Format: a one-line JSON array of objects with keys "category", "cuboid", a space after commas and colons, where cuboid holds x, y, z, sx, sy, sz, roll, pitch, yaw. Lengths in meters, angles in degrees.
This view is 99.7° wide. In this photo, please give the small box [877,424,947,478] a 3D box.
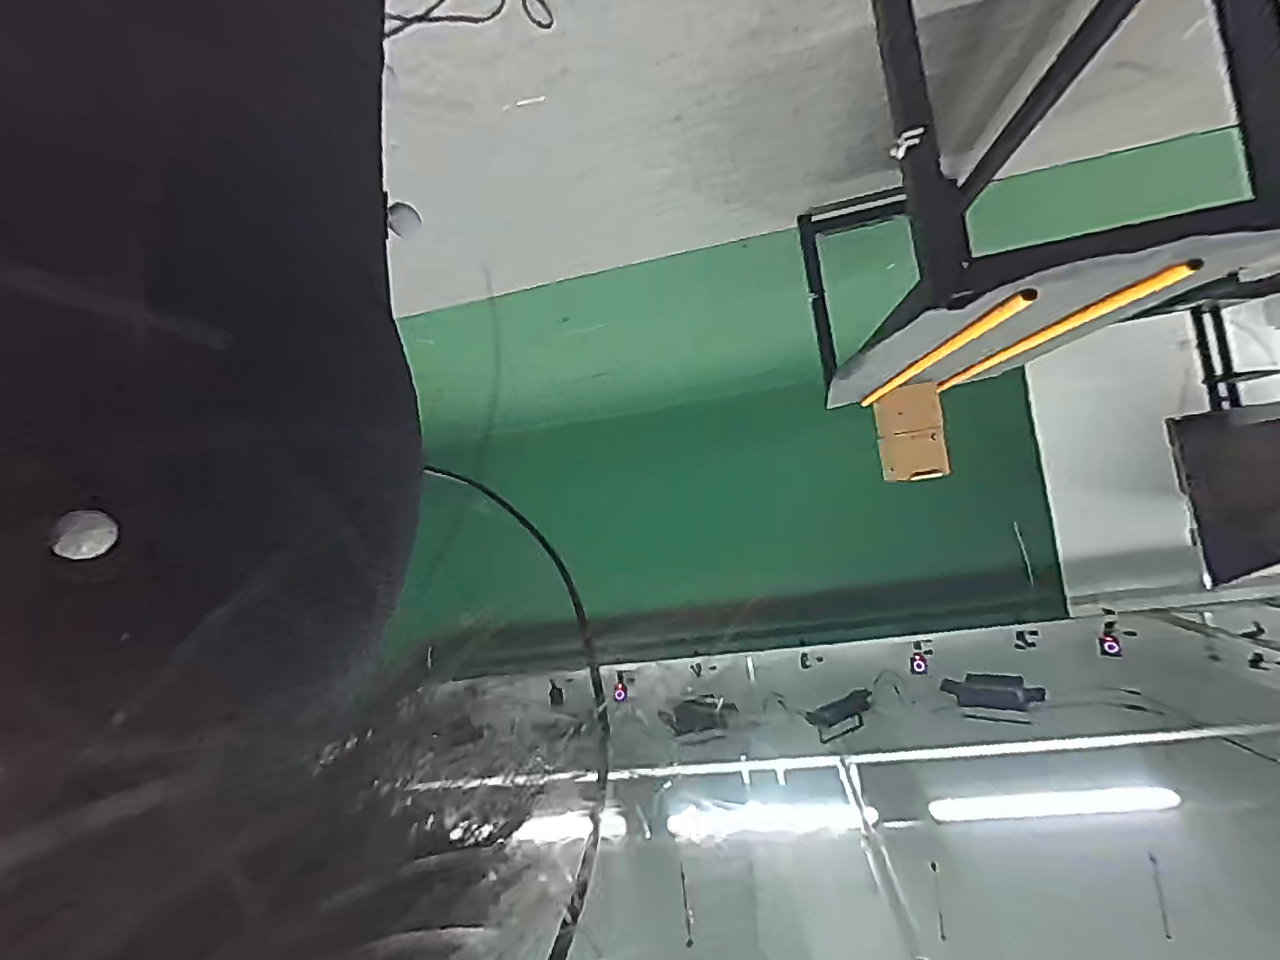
[{"category": "small box", "cuboid": [0.982, -0.105, 1.965, 0.168, 0.176, 0.179, -9, 178, 5]}]
